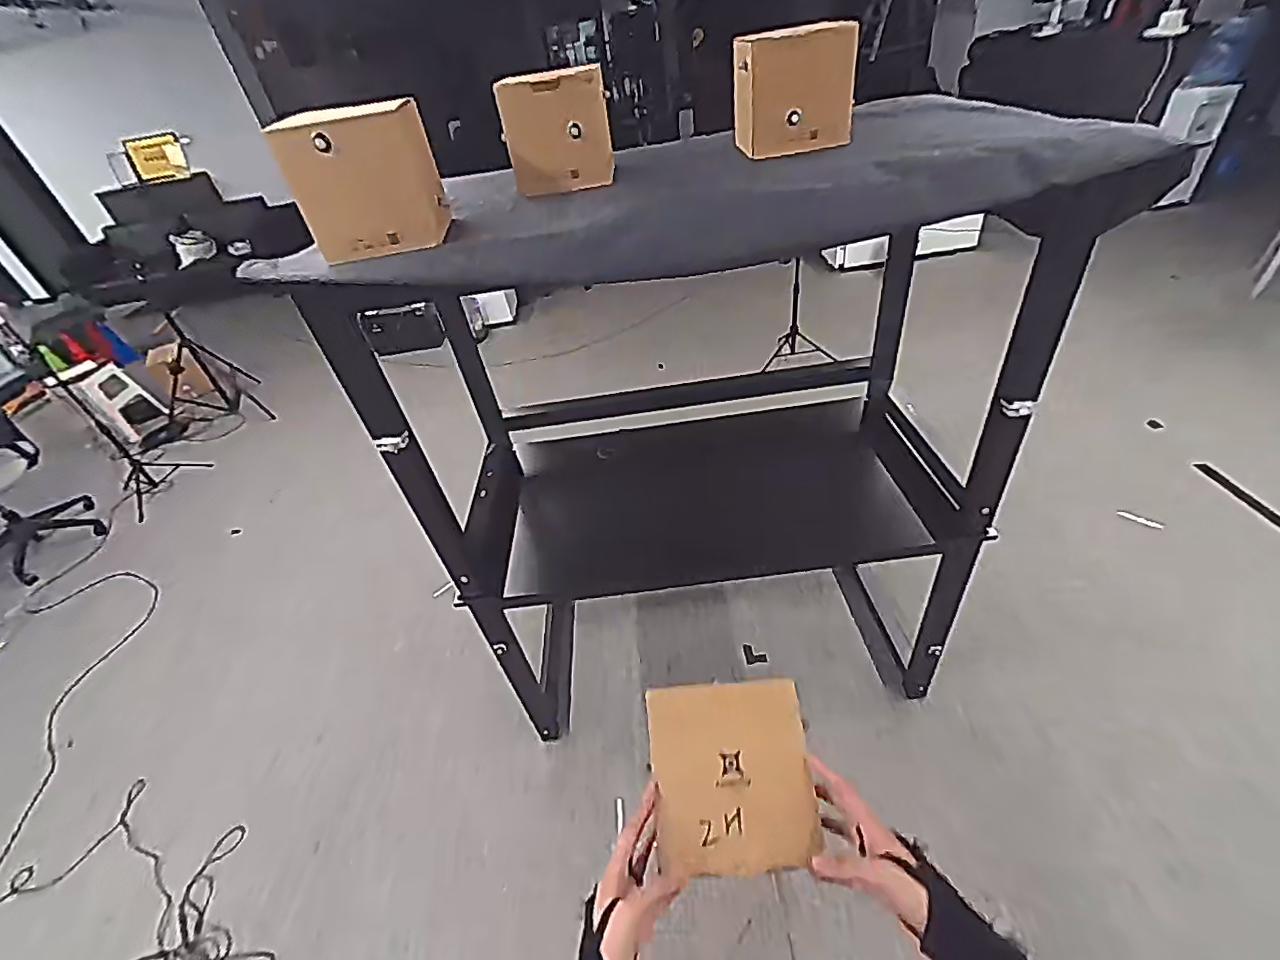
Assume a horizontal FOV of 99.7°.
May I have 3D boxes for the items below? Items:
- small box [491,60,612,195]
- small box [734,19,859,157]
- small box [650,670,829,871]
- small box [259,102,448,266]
[{"bbox_3d":[-0.144,-0.614,0.950,0.168,0.176,0.179,-6,40,4],"label":"small box"},{"bbox_3d":[0.258,-0.675,0.936,0.168,0.176,0.179,-8,40,3],"label":"small box"},{"bbox_3d":[0.099,0.328,0.629,0.168,0.176,0.179,-5,65,0],"label":"small box"},{"bbox_3d":[-0.388,-0.424,0.773,0.168,0.176,0.179,-12,40,-3],"label":"small box"}]
